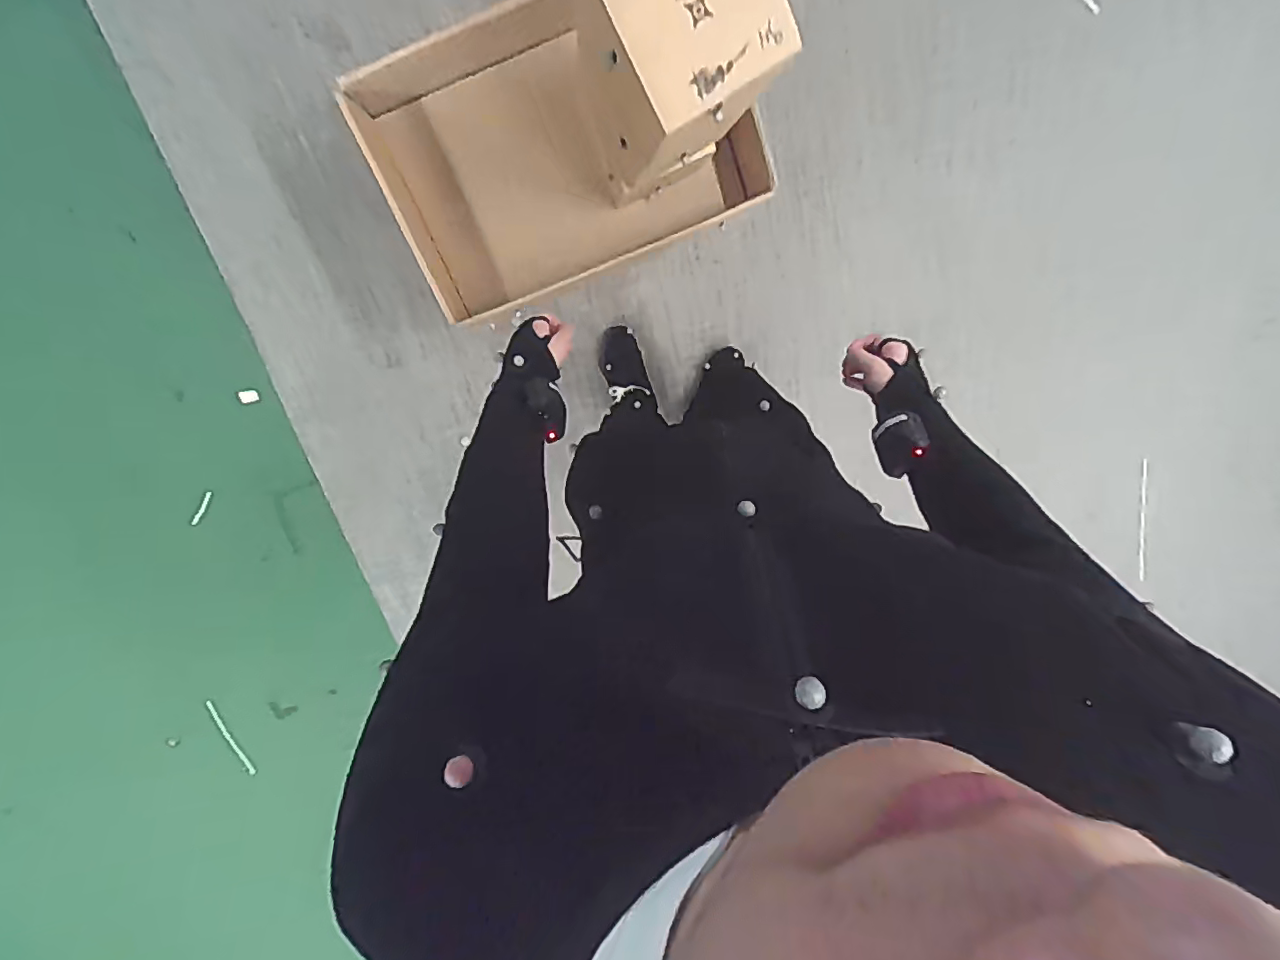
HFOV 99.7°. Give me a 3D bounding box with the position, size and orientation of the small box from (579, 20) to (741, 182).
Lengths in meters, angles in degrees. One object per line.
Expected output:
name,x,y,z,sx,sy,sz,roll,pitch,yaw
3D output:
small box,0.028,-0.542,0.751,0.168,0.176,0.179,-29,109,3

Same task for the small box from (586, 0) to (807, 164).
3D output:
small box,0.049,-0.490,0.596,0.168,0.176,0.179,-30,109,5
